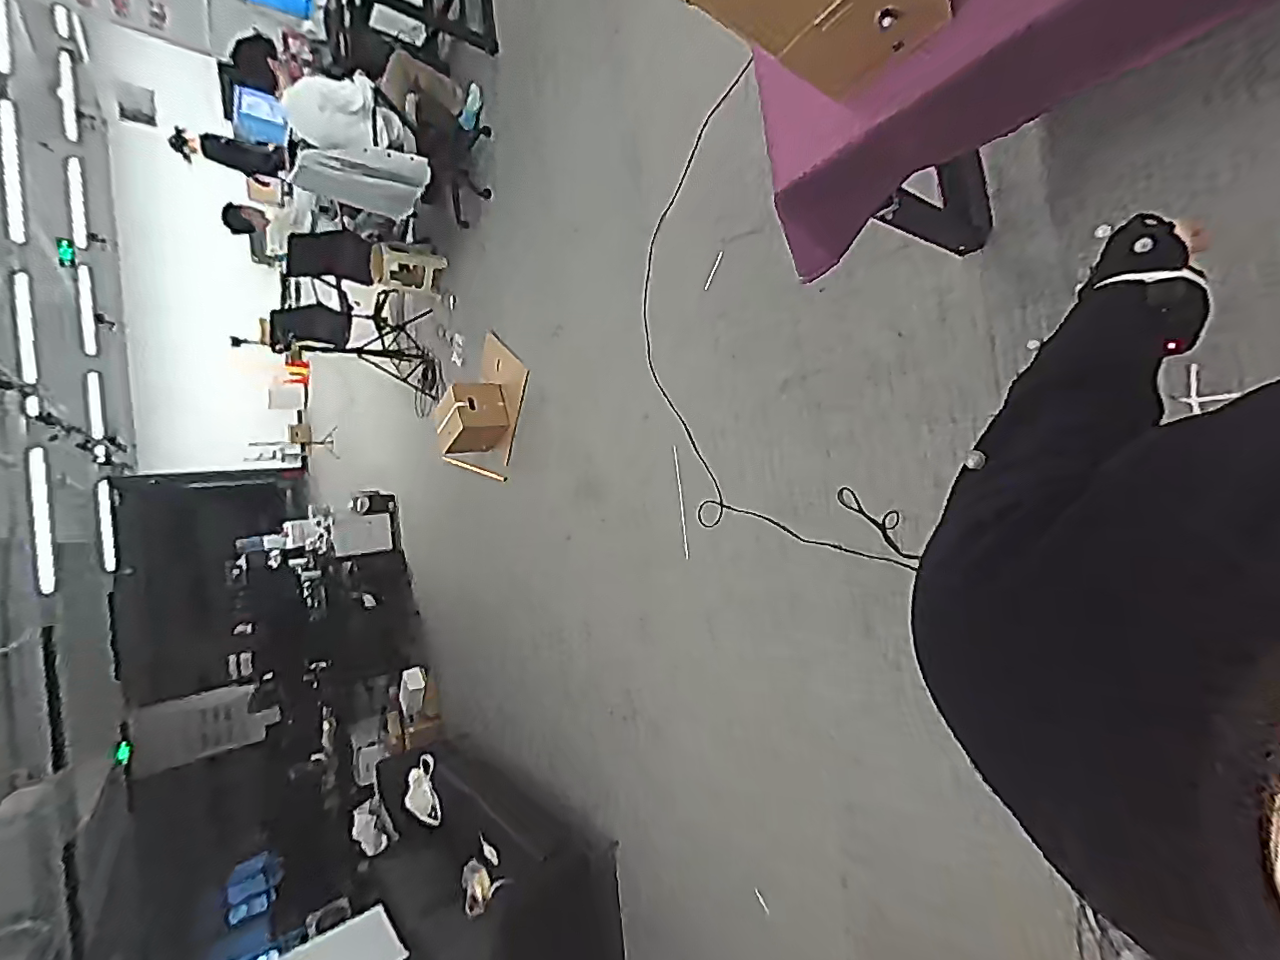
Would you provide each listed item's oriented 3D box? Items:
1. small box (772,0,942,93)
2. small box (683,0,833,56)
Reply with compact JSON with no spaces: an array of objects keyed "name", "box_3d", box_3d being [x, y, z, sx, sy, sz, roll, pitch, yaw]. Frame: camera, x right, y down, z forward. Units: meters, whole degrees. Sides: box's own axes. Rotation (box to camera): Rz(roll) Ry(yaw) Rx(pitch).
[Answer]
[{"name":"small box","box_3d":[0.281,-0.669,0.731,0.168,0.176,0.179,-13,83,50]},{"name":"small box","box_3d":[0.154,-0.658,0.631,0.179,0.176,0.168,-16,81,49]}]
